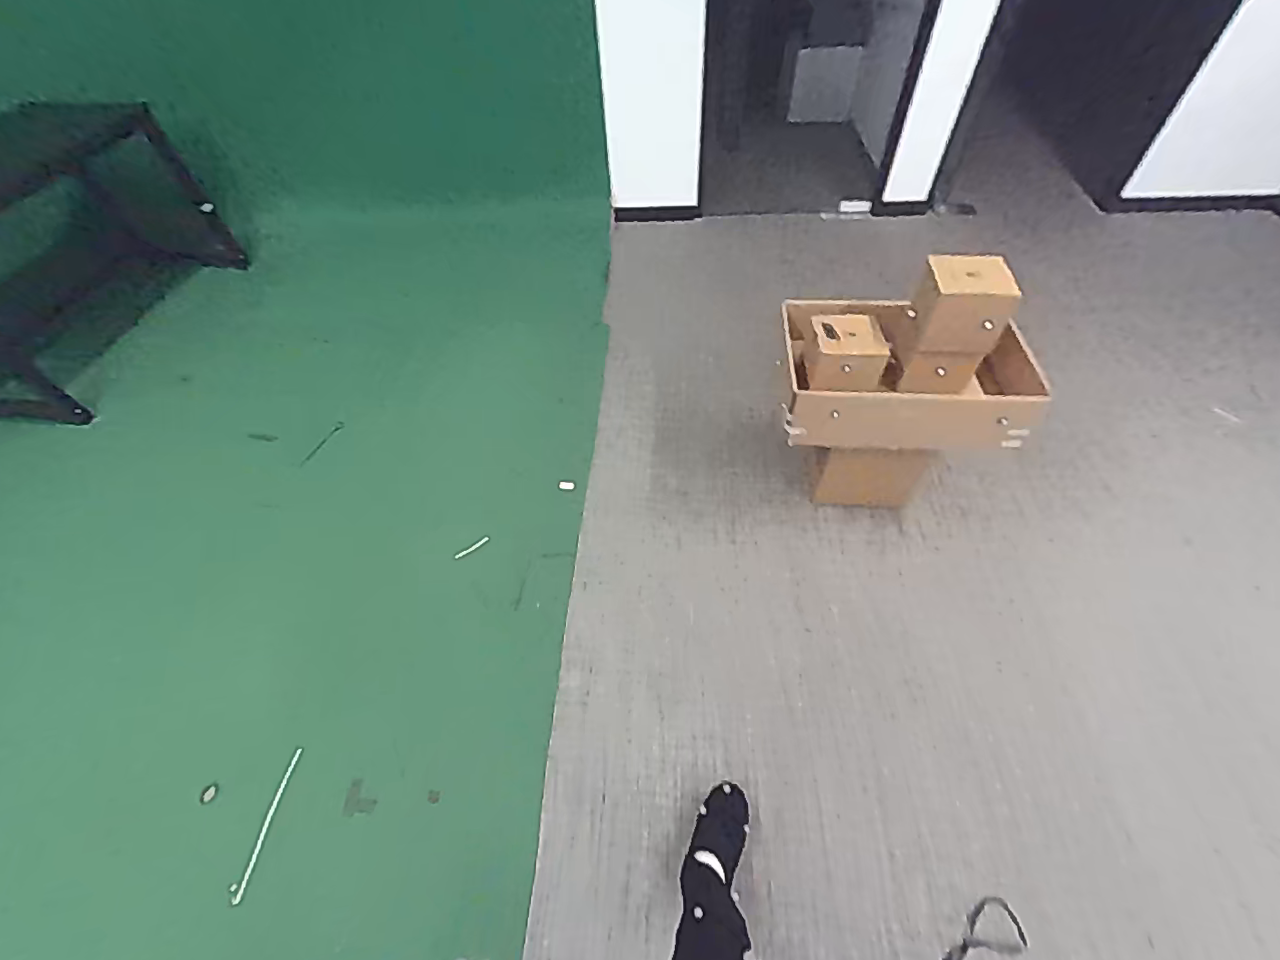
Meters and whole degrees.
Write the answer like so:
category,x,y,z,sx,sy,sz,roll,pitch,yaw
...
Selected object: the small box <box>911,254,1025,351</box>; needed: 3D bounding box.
category,x,y,z,sx,sy,sz,roll,pitch,yaw
small box,0.792,-0.432,1.325,0.179,0.176,0.168,4,52,9
